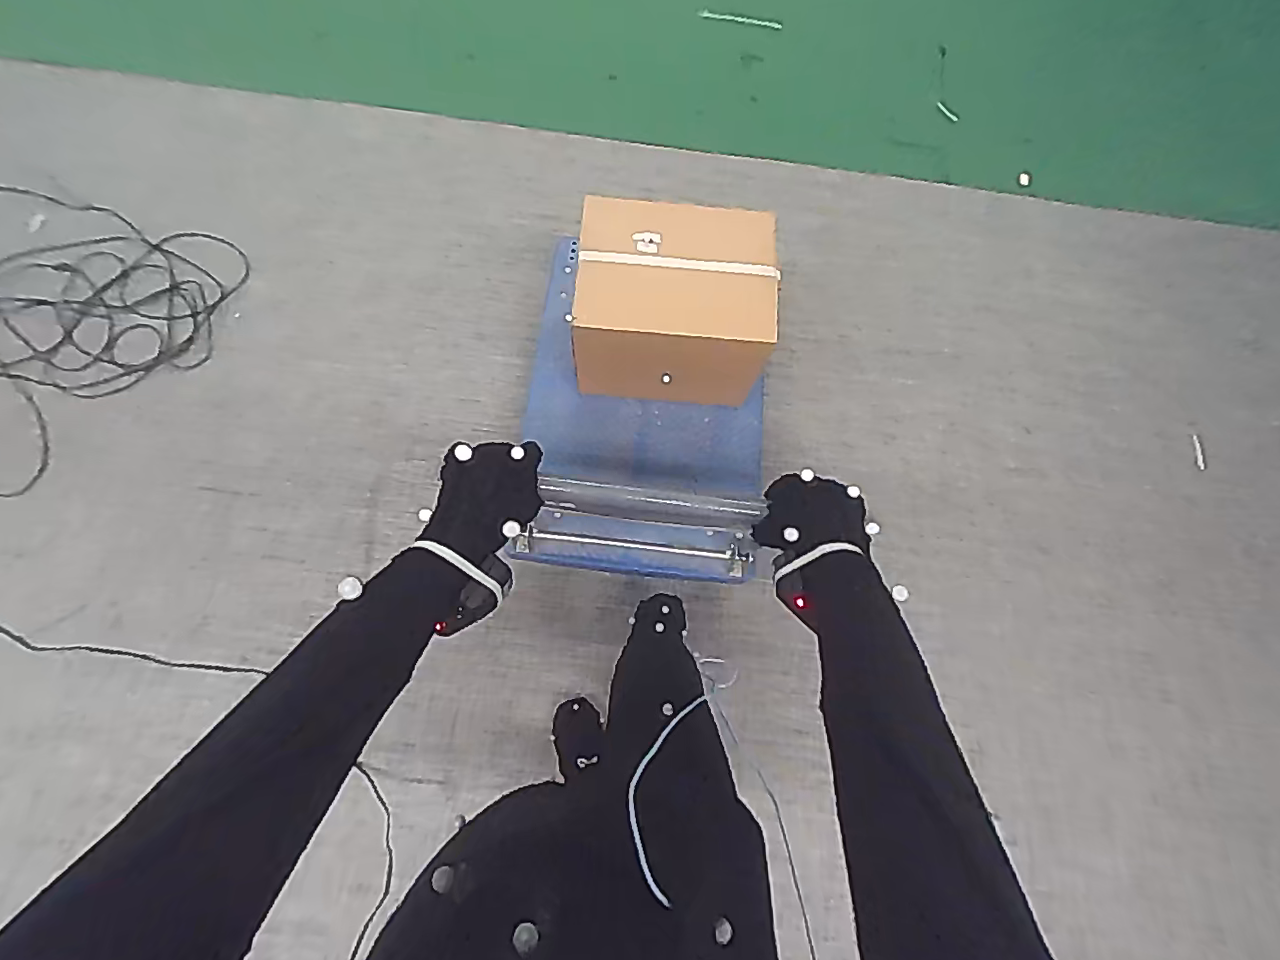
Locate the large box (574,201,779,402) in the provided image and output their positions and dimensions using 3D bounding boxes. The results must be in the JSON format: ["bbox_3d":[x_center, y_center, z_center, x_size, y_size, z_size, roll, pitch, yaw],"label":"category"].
[{"bbox_3d":[0.075,-0.384,1.225,0.408,0.320,0.320,3,73,-1],"label":"large box"}]
